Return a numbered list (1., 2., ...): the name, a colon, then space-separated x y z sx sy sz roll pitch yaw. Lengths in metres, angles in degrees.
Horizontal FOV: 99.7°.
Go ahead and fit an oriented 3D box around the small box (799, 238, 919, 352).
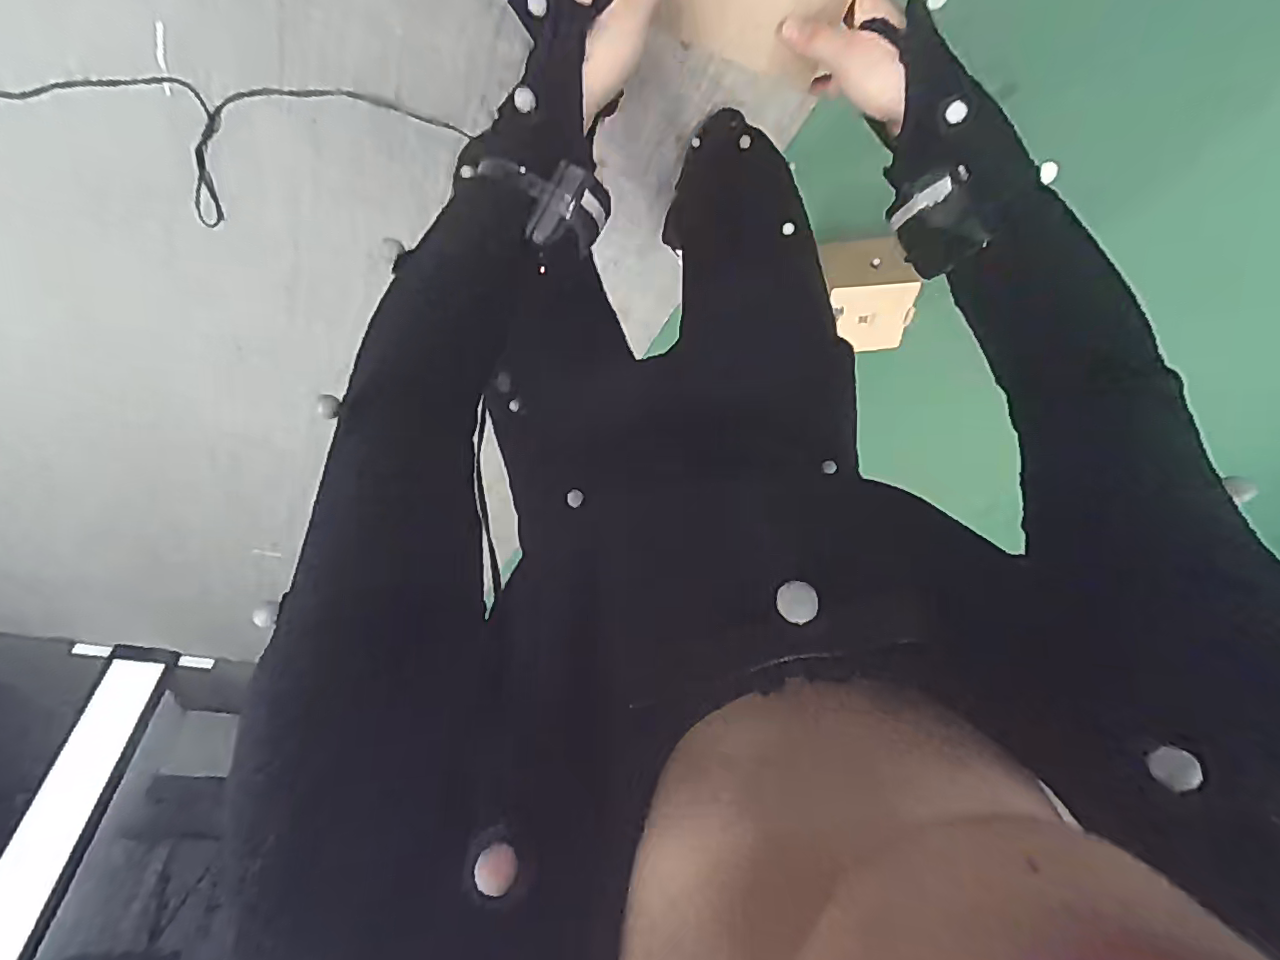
1. small box: 0.456 -0.398 1.157 0.179 0.176 0.168 -4 143 3
